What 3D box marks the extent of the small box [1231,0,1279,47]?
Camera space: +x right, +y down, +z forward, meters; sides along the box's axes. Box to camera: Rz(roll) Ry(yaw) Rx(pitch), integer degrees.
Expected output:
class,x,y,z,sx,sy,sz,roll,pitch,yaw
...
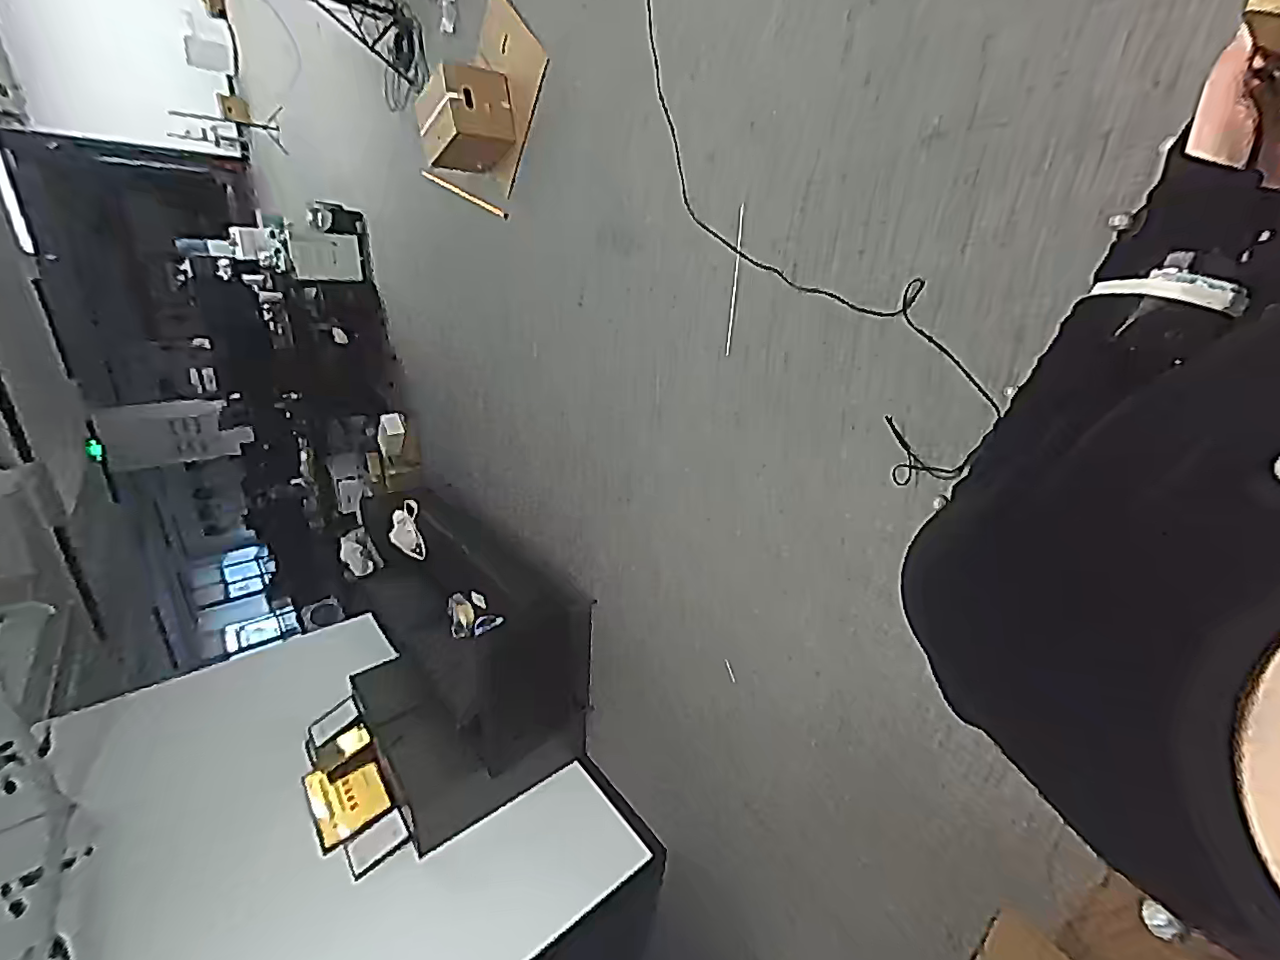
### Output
class,x,y,z,sx,sy,sz,roll,pitch,yaw
small box,0.427,-0.283,0.226,0.168,0.176,0.179,42,136,31
